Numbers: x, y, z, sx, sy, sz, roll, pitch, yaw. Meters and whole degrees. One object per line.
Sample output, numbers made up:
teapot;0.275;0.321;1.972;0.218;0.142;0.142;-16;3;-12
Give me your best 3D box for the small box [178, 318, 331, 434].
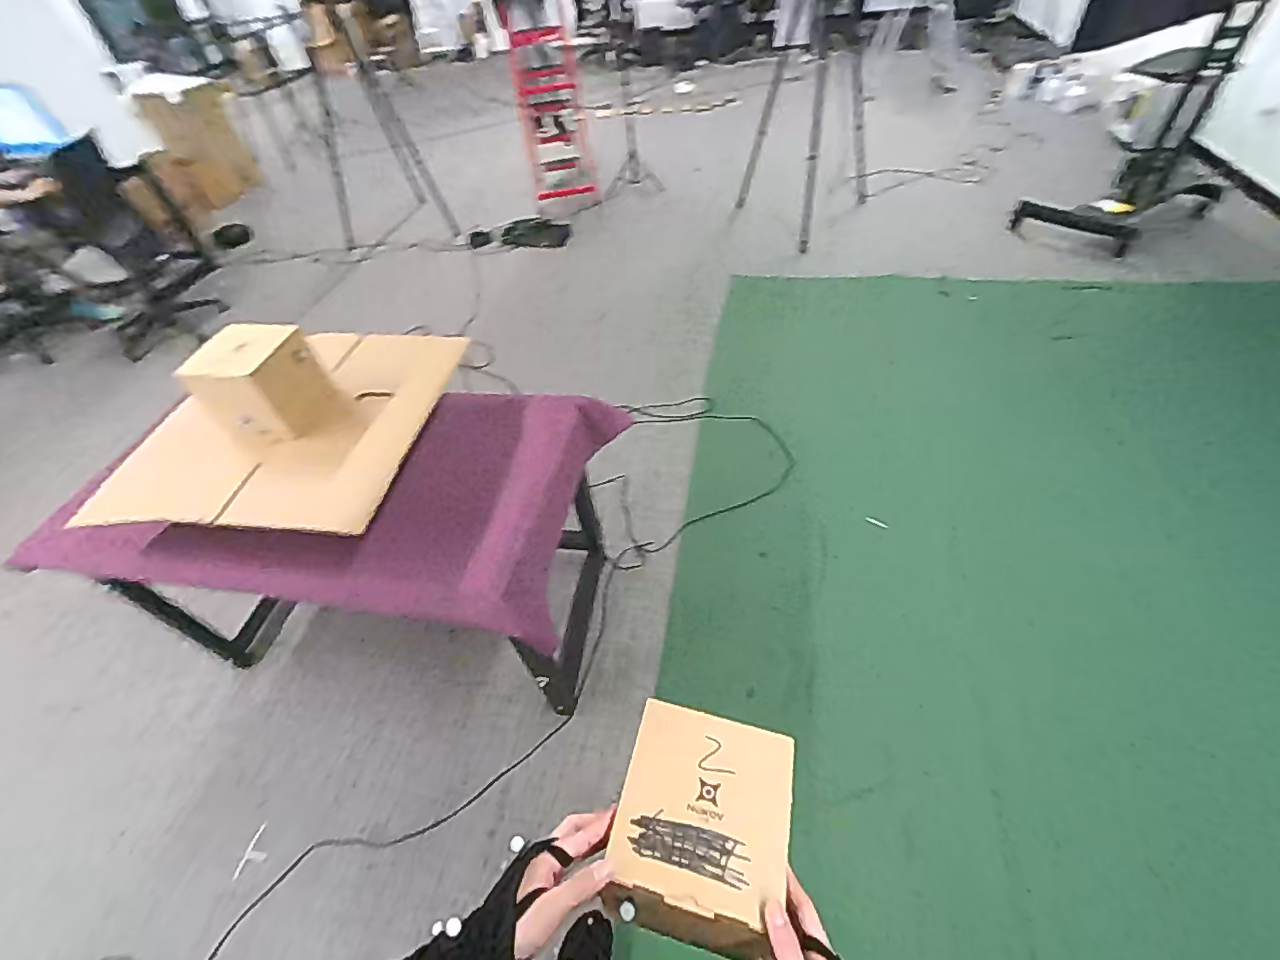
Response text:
small box;-0.793;-0.220;1.140;0.168;0.176;0.179;4;50;9
